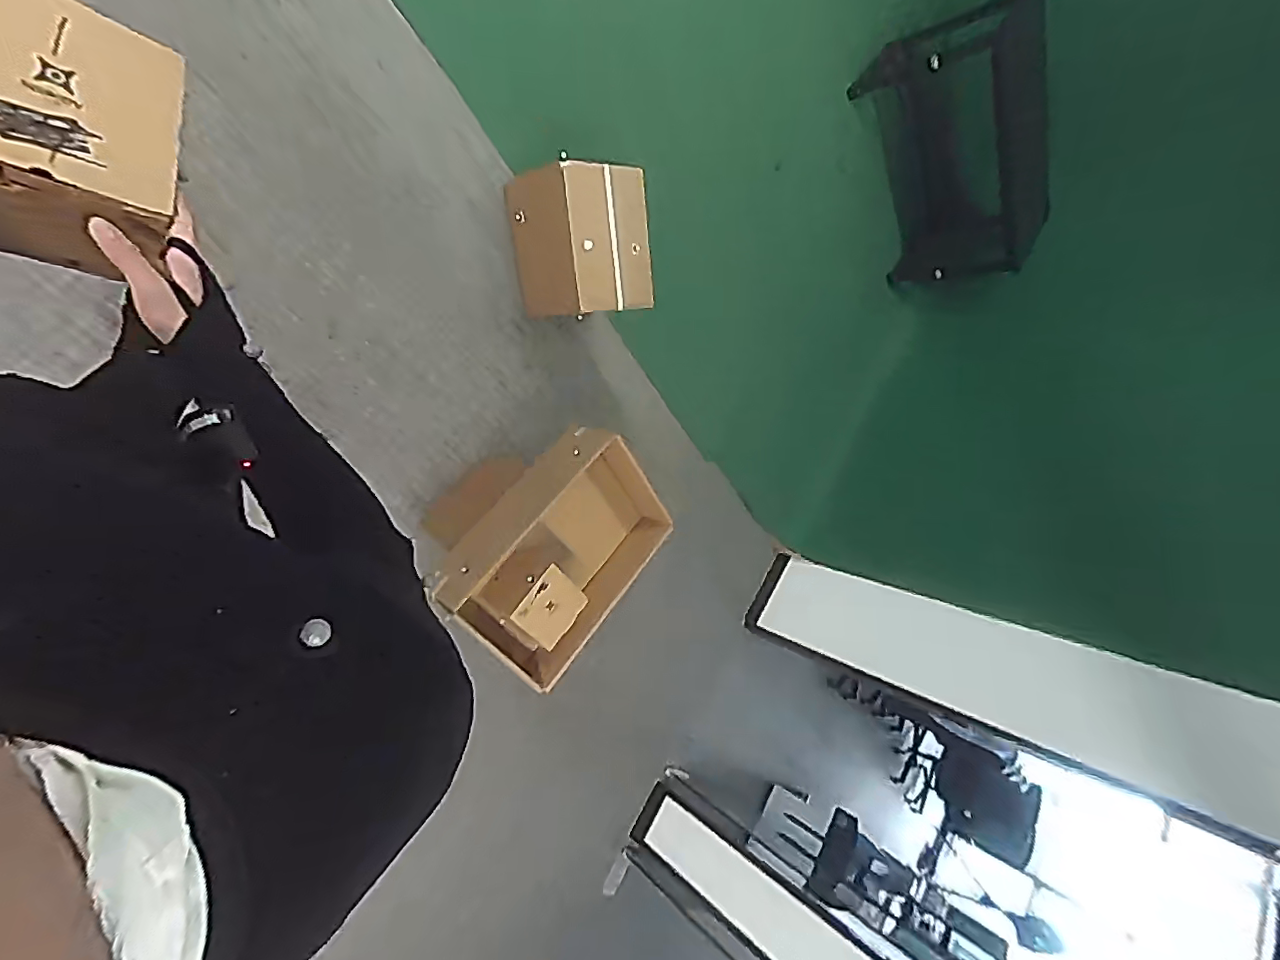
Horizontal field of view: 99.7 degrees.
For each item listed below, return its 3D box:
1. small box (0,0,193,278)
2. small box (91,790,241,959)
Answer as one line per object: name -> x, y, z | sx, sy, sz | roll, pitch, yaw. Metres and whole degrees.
small box -> -0.543, -0.319, 0.506 | 0.168, 0.176, 0.179 | 6, 77, -48
small box -> -0.925, 0.763, 1.064 | 0.168, 0.176, 0.179 | -29, 117, -37
